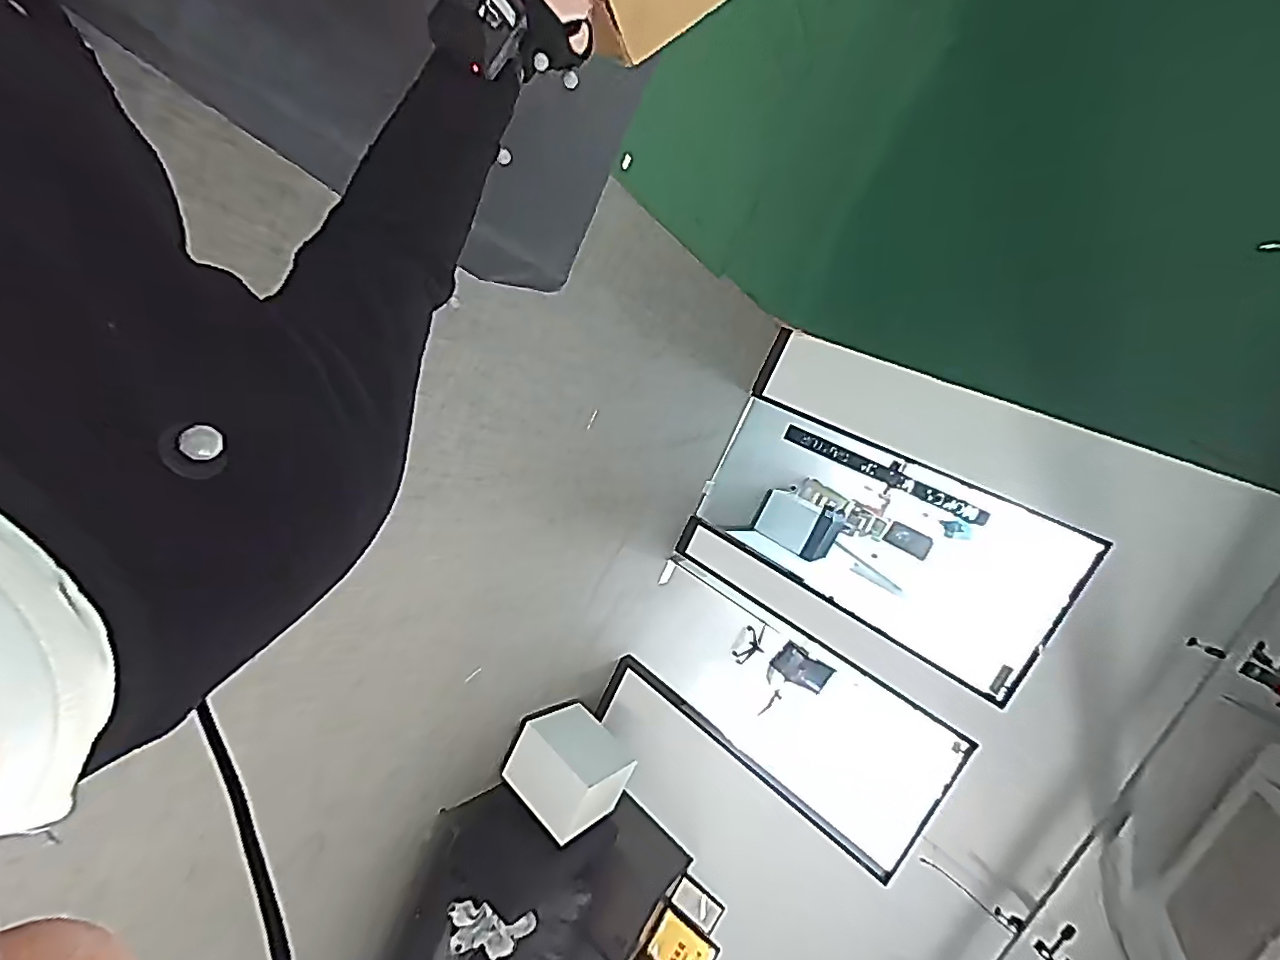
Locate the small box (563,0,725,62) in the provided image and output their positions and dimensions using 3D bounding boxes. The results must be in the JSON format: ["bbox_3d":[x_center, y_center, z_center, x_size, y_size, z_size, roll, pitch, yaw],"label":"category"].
[{"bbox_3d":[-0.003,-0.564,0.532,0.179,0.176,0.168,-33,144,2],"label":"small box"}]
